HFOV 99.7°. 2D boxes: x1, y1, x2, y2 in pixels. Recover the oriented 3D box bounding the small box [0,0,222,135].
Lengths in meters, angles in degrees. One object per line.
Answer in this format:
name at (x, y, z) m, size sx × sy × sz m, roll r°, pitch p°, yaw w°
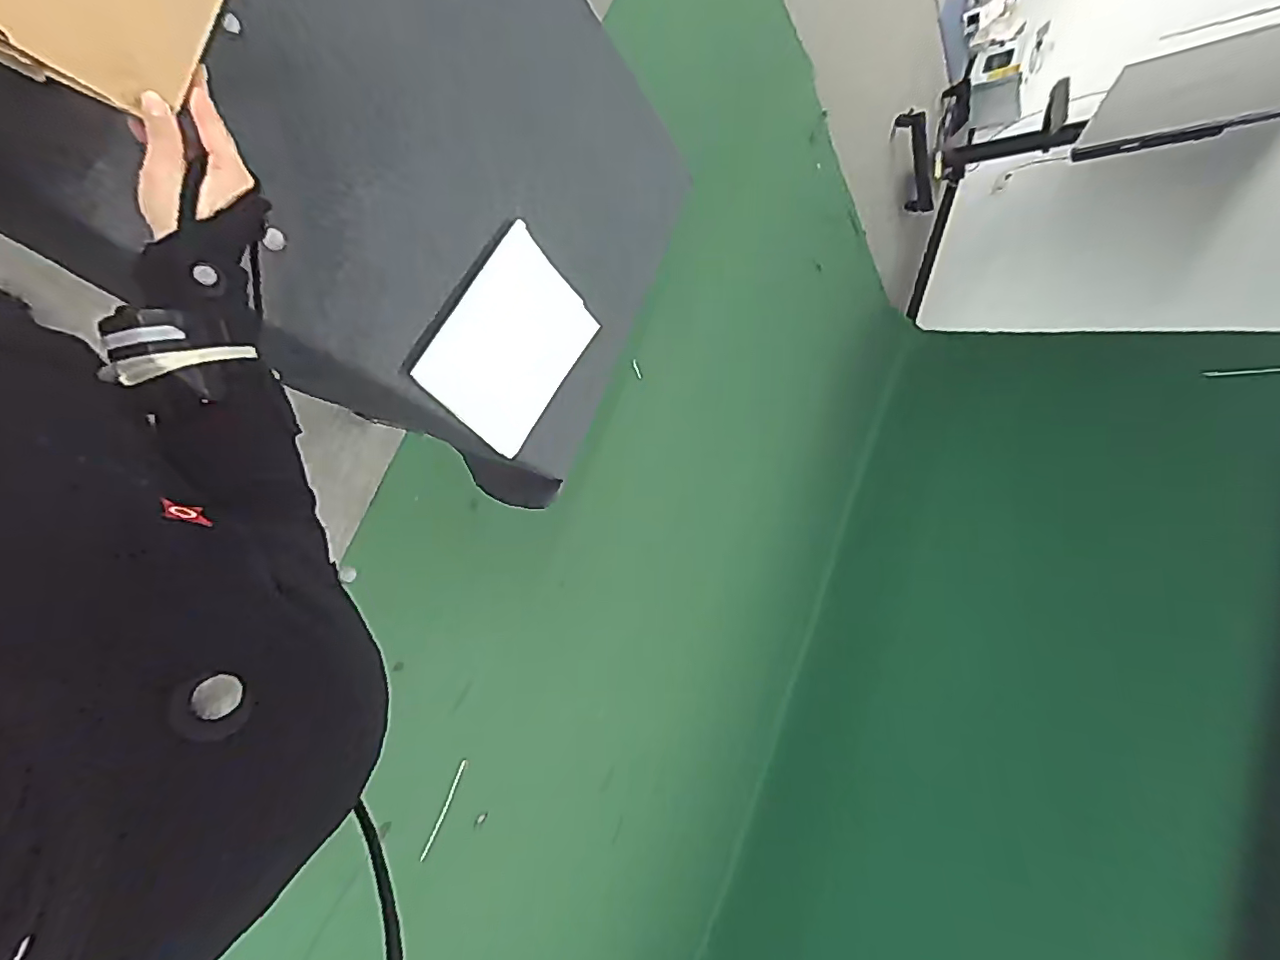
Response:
small box at (-0.362, -0.368, 0.336) m, size 0.168 × 0.176 × 0.179 m, roll 19°, pitch 117°, yaw -48°
